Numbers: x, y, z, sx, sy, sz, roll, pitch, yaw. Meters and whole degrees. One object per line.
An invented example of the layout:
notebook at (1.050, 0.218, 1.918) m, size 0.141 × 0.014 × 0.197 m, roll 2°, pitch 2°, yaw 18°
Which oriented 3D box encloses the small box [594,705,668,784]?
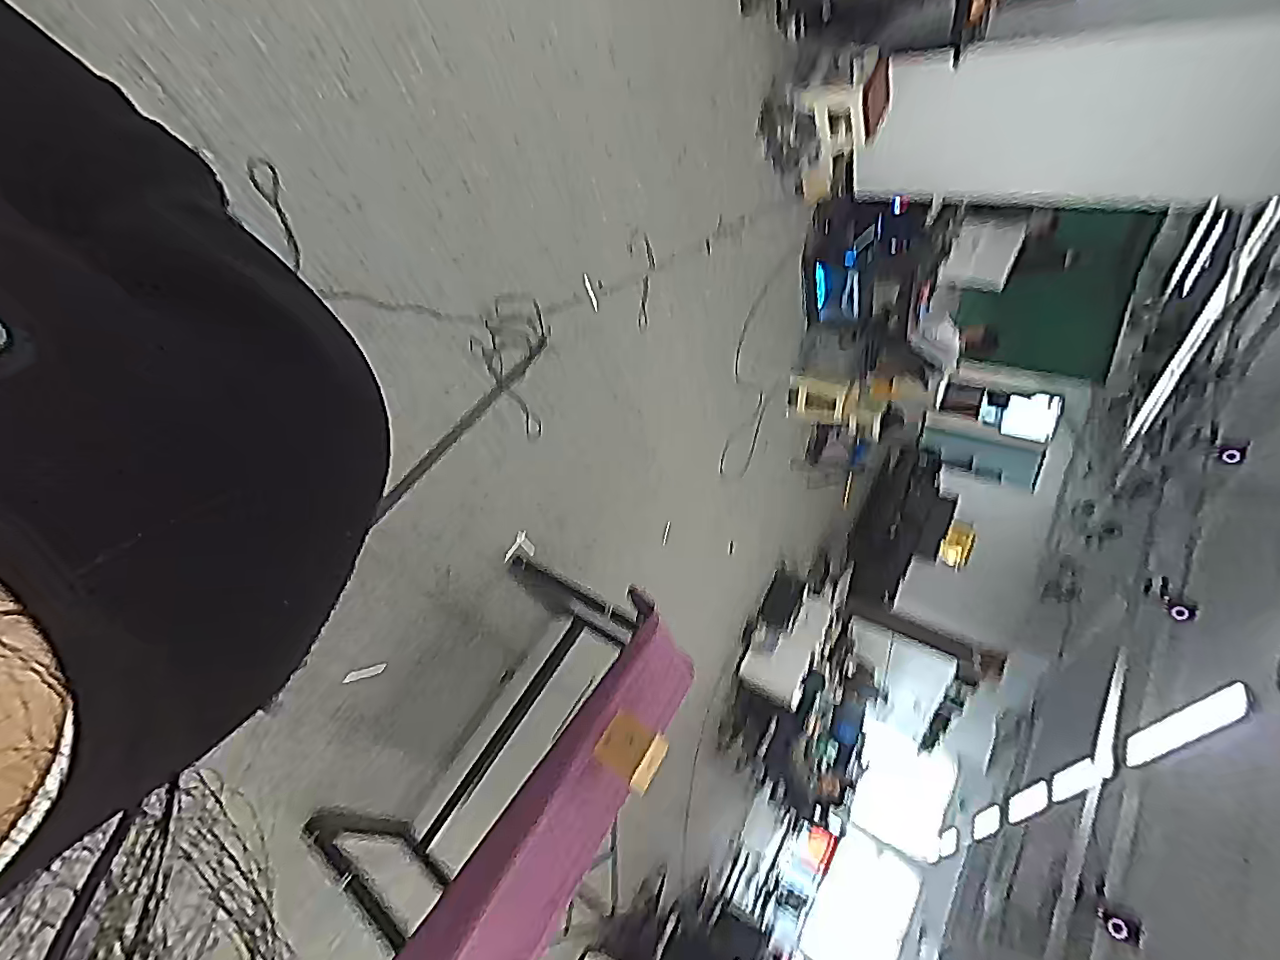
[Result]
small box at (-0.031, 0.895, 1.841) m, size 0.168 × 0.176 × 0.179 m, roll -54°, pitch 146°, yaw -24°
